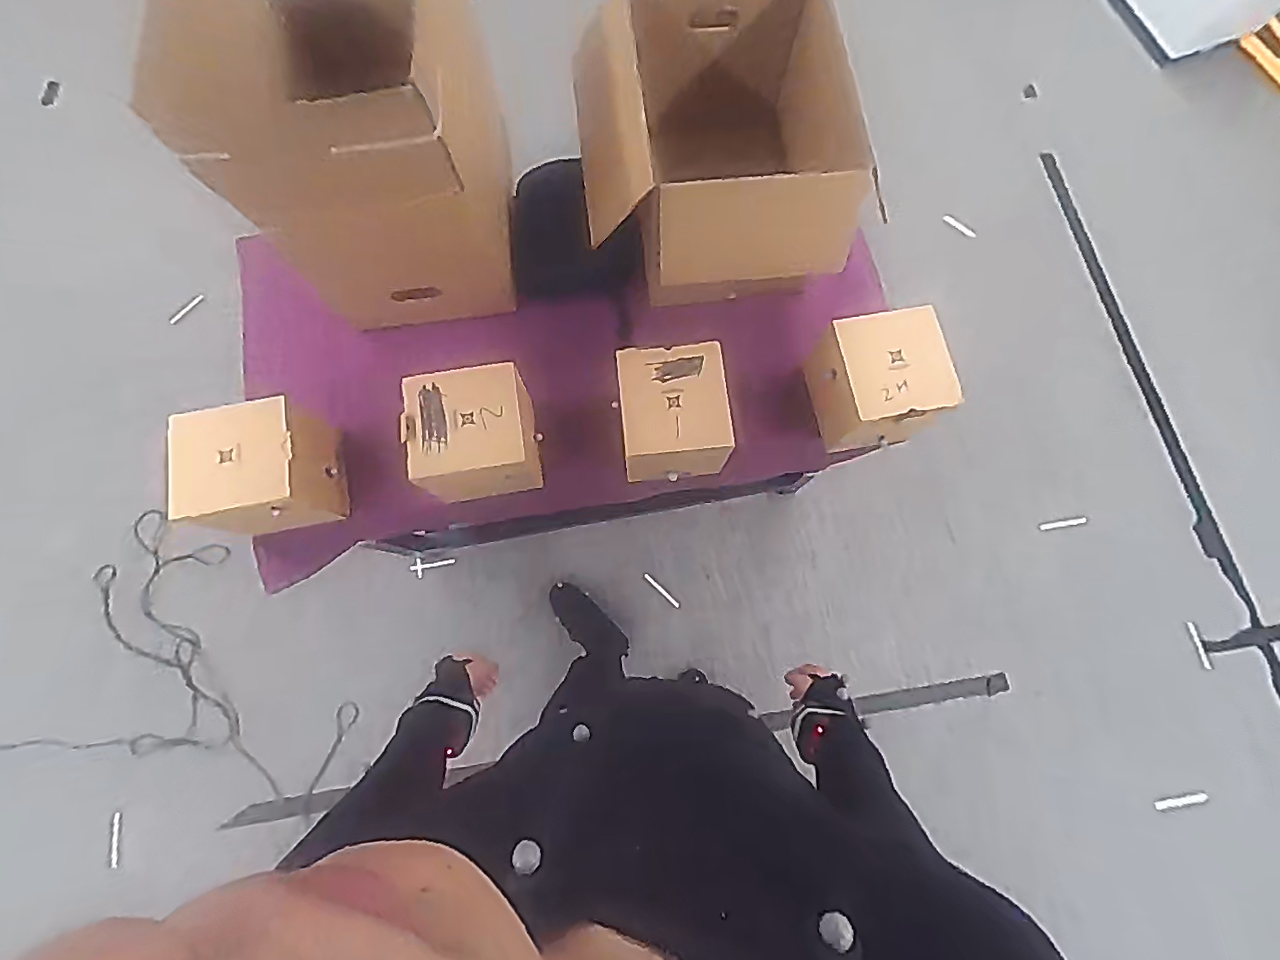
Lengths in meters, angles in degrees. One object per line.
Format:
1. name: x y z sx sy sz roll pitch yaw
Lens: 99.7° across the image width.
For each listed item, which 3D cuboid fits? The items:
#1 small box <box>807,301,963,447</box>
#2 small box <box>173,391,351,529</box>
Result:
1. small box: 0.398 -0.172 0.915 0.168 0.176 0.179 -9 77 -1
2. small box: -0.604 -0.023 0.880 0.179 0.176 0.168 -11 77 -4
